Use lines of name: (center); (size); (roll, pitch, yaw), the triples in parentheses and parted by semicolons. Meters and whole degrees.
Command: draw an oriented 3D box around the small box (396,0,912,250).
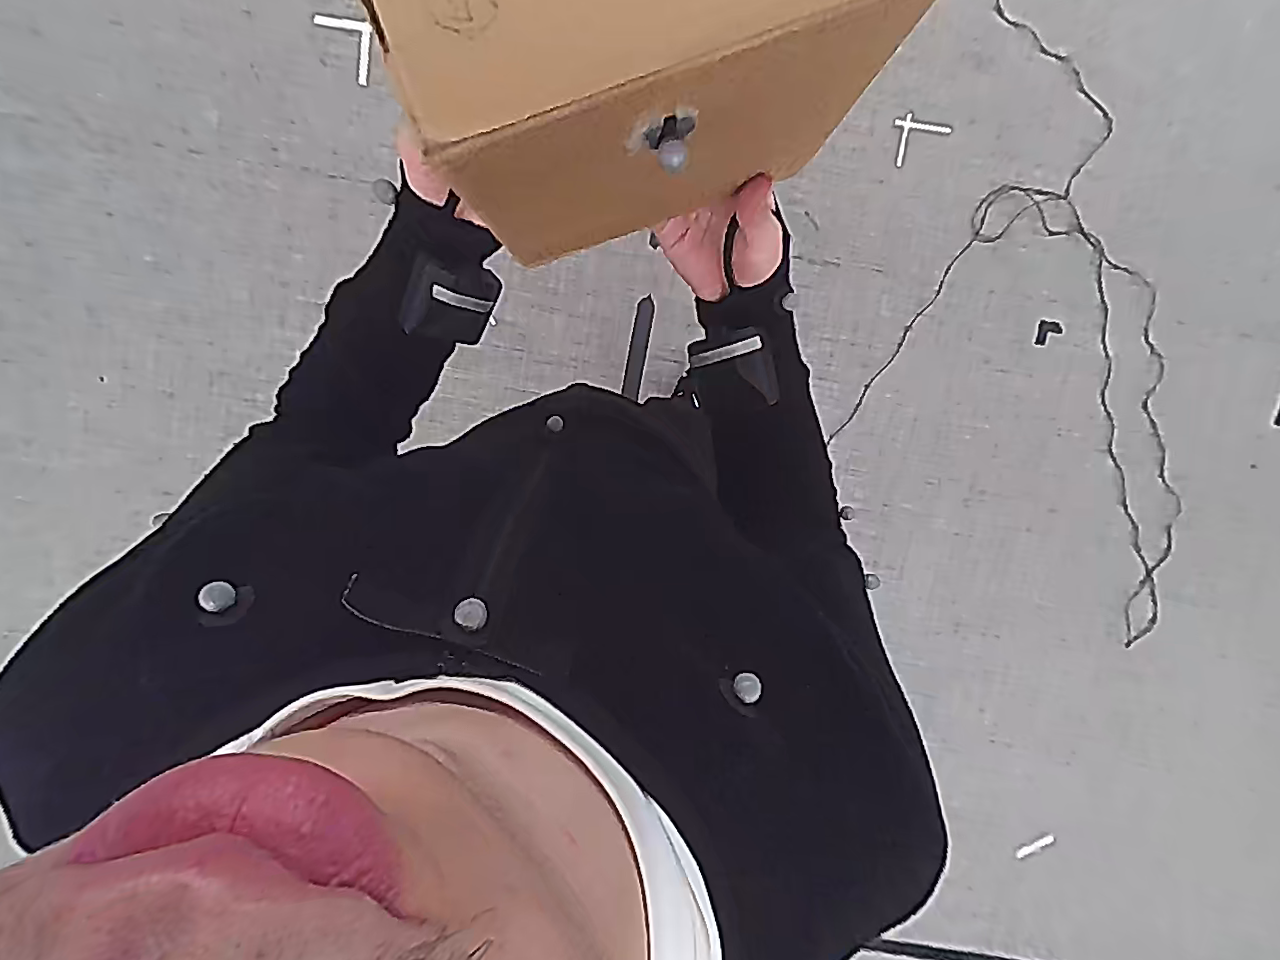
small box: (-0.008, -0.224, 0.240); (0.179, 0.176, 0.168); (-19, 100, 1)
